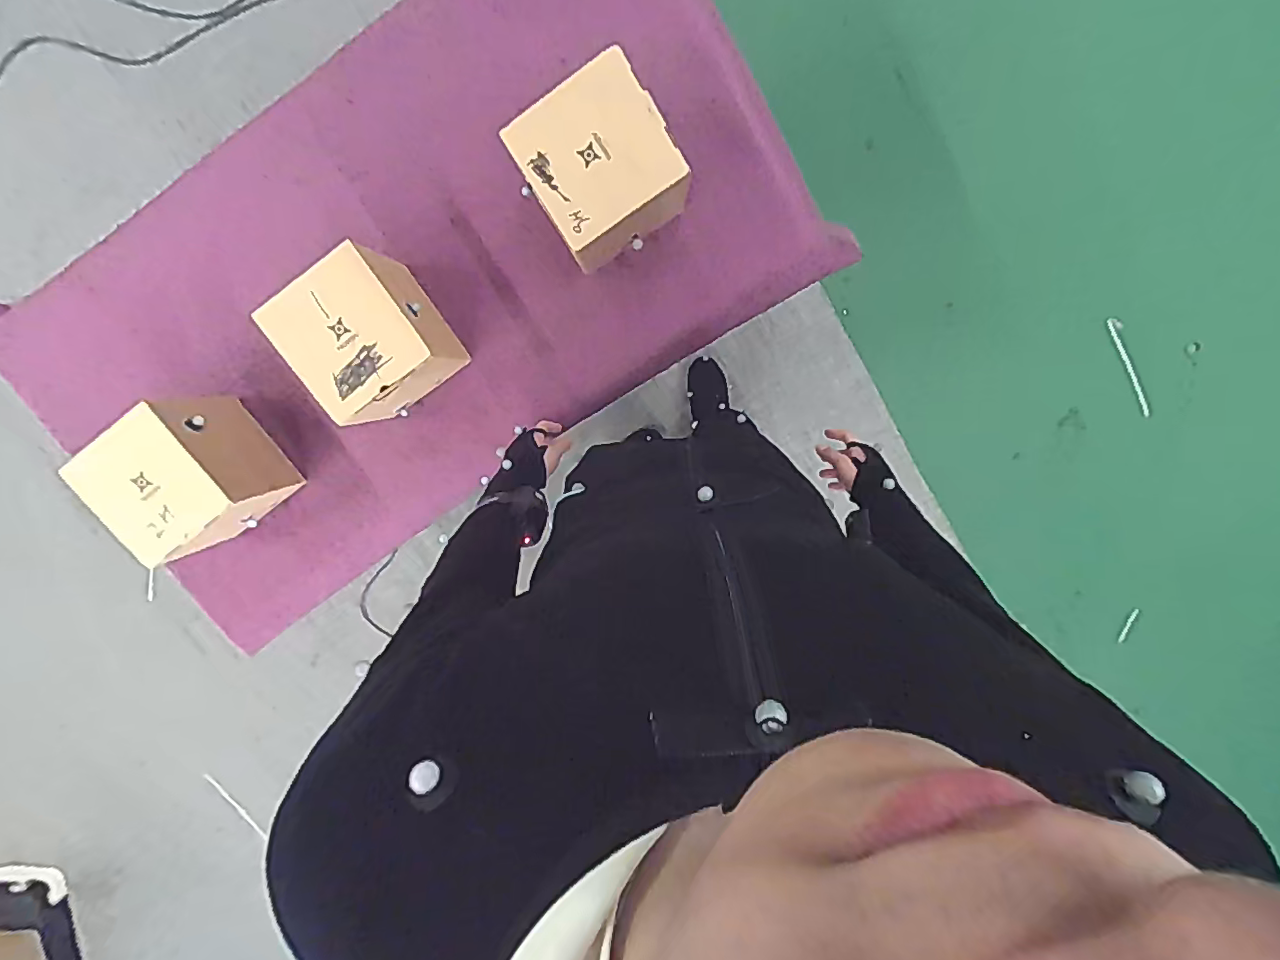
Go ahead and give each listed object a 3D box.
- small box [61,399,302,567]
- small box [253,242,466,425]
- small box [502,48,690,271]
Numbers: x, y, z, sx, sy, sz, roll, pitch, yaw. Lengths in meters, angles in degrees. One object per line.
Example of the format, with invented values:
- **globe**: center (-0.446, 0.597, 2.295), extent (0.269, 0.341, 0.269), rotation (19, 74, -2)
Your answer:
- **small box**: center (-0.665, -0.005, 0.809), extent (0.168, 0.176, 0.179), rotation (-35, 99, 6)
- **small box**: center (-0.381, -0.200, 0.772), extent (0.168, 0.176, 0.179), rotation (-34, 98, 6)
- **small box**: center (-0.054, -0.412, 0.731), extent (0.179, 0.176, 0.168), rotation (-32, 99, 6)
